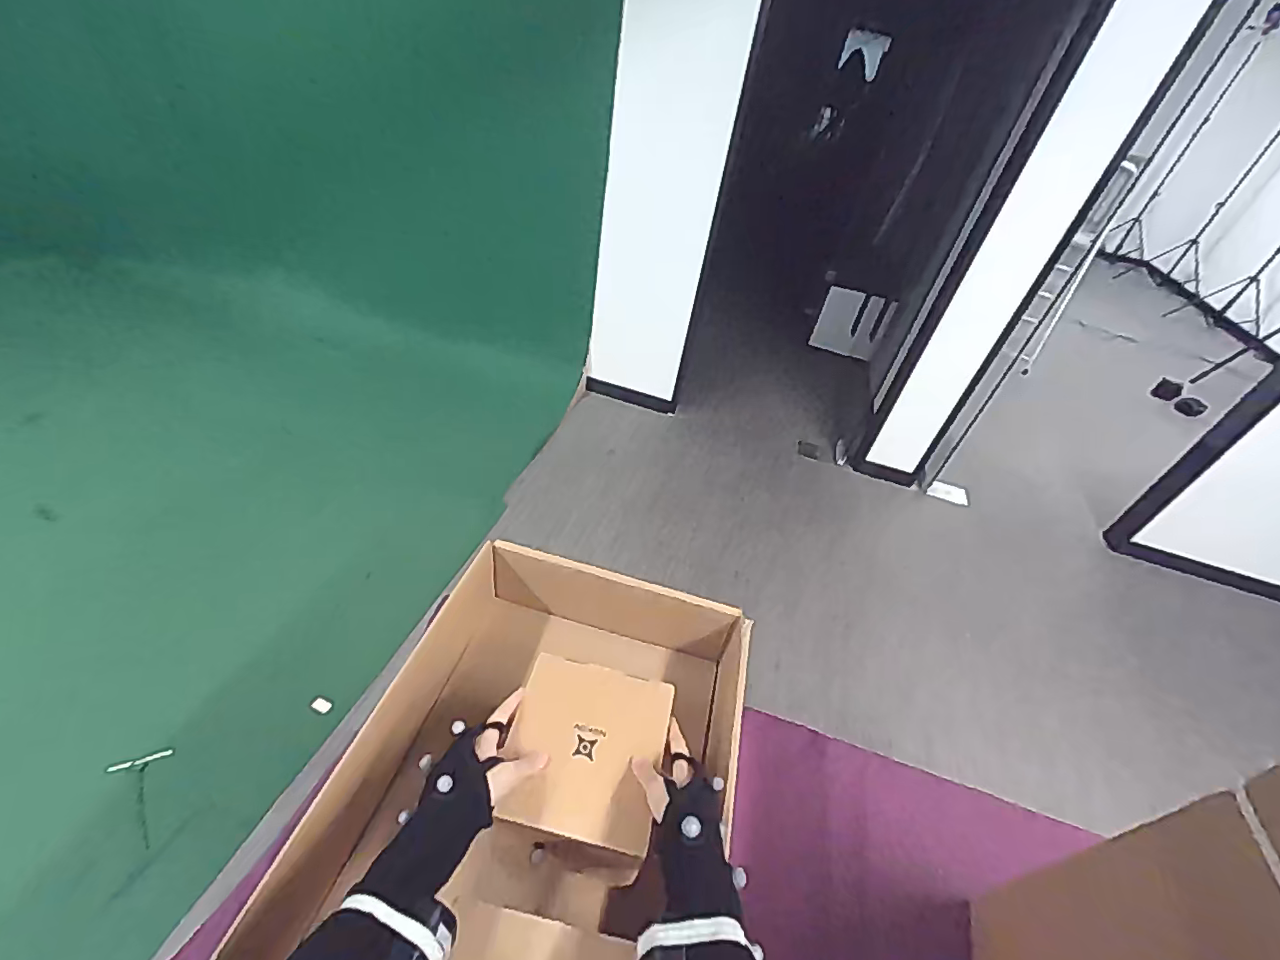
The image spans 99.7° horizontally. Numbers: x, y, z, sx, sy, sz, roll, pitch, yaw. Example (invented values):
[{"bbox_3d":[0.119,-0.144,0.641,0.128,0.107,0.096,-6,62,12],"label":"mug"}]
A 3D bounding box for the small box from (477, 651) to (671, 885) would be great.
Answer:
[{"bbox_3d":[-0.068,0.334,0.626,0.168,0.176,0.179,13,42,5],"label":"small box"}]
